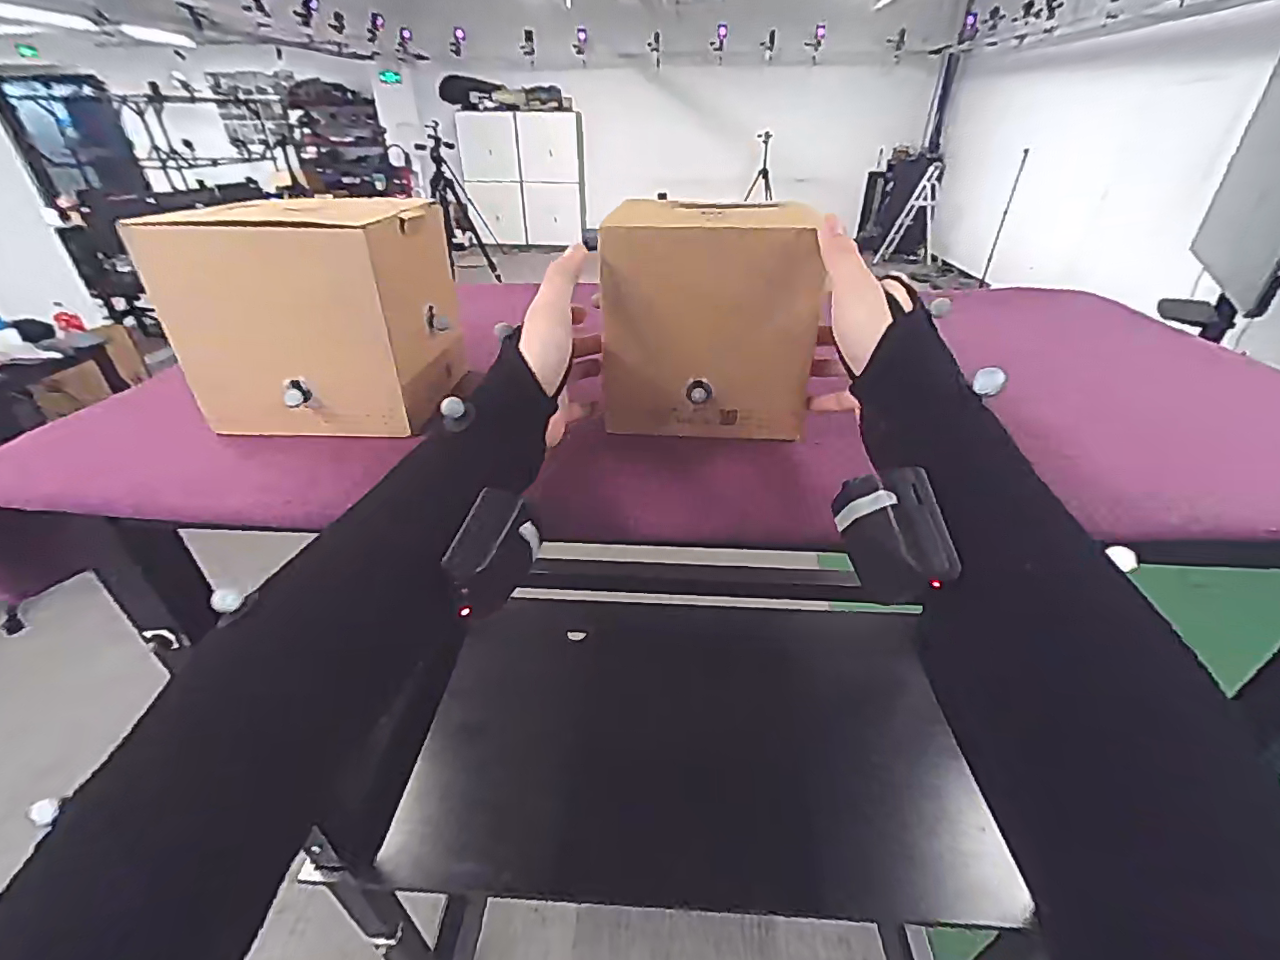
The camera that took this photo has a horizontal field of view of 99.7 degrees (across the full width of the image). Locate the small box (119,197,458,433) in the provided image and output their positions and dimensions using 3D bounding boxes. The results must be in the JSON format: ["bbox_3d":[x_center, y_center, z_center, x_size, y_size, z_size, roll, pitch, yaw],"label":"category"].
[{"bbox_3d":[-0.280,-0.151,0.488,0.179,0.176,0.168,1,32,0],"label":"small box"}]
